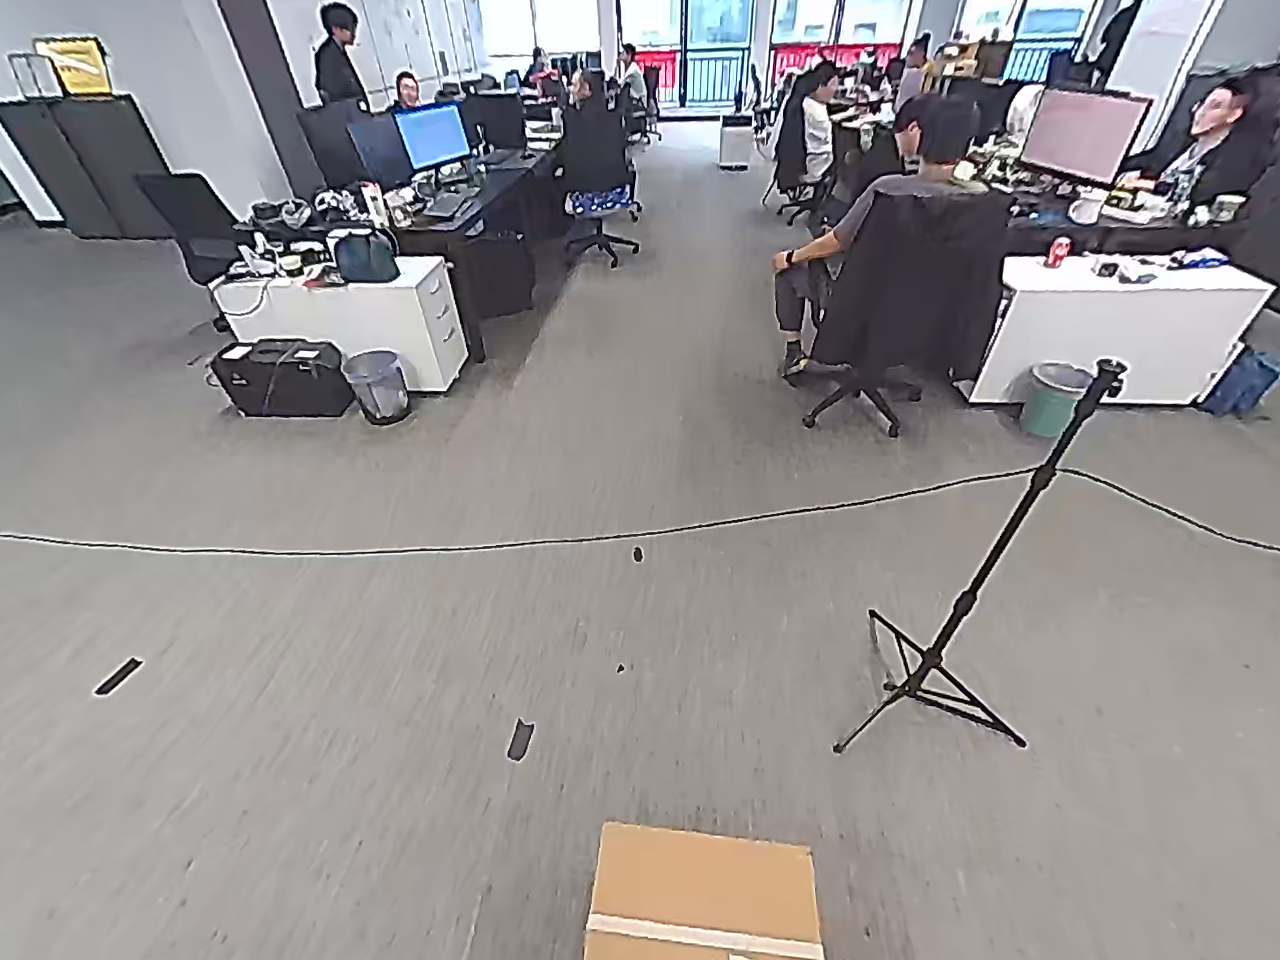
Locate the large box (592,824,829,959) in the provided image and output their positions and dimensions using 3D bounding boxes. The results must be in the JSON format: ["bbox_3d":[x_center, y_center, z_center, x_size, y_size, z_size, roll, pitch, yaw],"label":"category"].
[{"bbox_3d":[0.123,0.903,1.030,0.408,0.320,0.320,4,41,6],"label":"large box"}]
